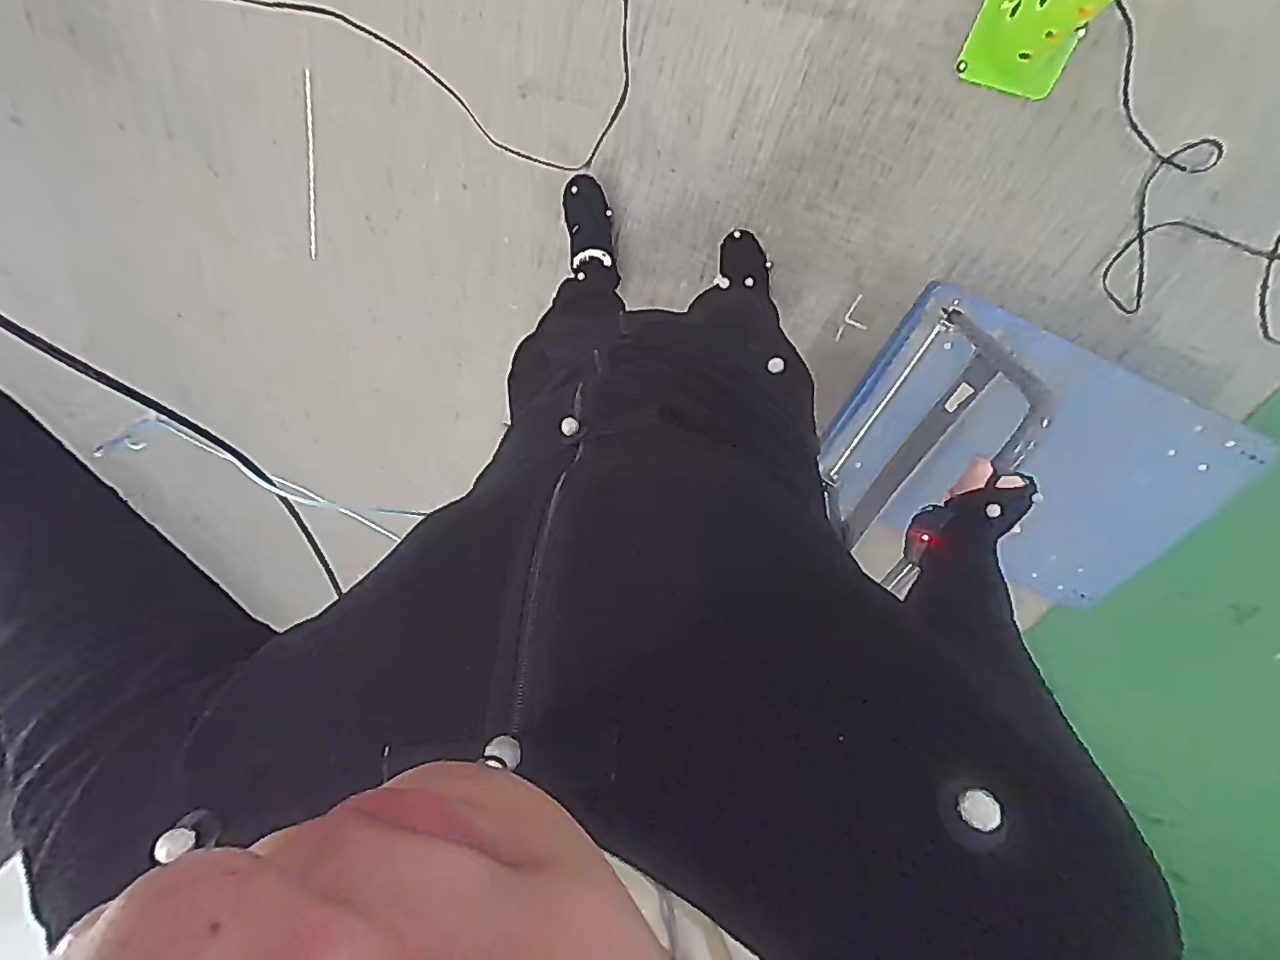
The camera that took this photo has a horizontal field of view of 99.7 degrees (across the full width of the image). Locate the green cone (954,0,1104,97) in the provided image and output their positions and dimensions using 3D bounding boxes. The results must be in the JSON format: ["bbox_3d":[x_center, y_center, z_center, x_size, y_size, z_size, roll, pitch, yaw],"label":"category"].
[{"bbox_3d":[0.725,-0.813,0.918,0.200,0.368,0.202,18,120,3],"label":"green cone"}]
